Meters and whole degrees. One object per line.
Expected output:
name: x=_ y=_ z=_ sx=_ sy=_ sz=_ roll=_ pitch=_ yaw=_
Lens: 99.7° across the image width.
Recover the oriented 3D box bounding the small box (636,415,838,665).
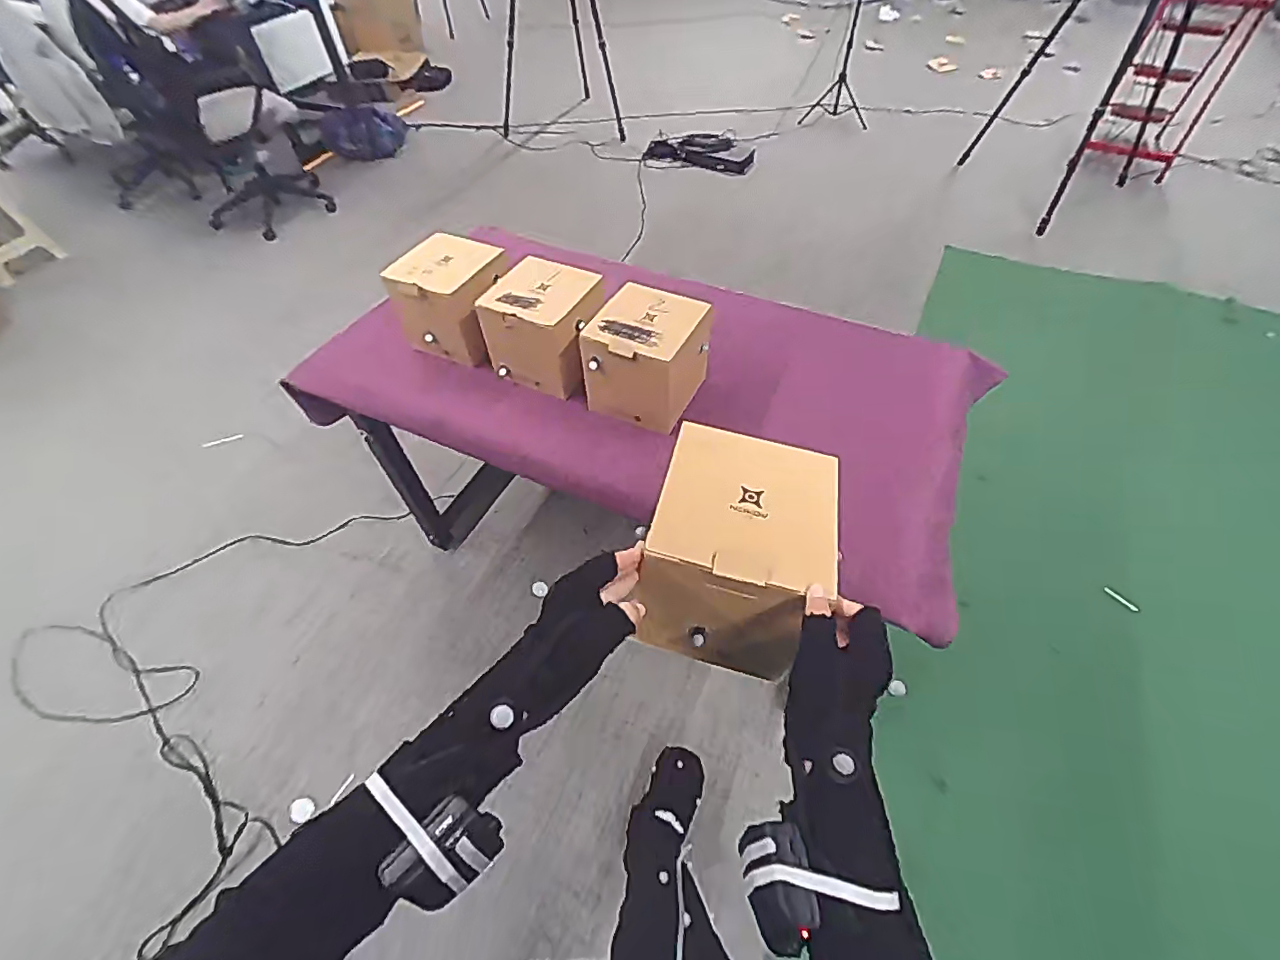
small box: x=0.097 y=0.065 z=0.573 sx=0.168 sy=0.176 sz=0.179 roll=14 pitch=49 yaw=6

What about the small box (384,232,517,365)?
small box: x=-0.367 y=-0.366 z=1.092 sx=0.168 sy=0.176 sz=0.179 roll=21 pitch=56 yaw=17
